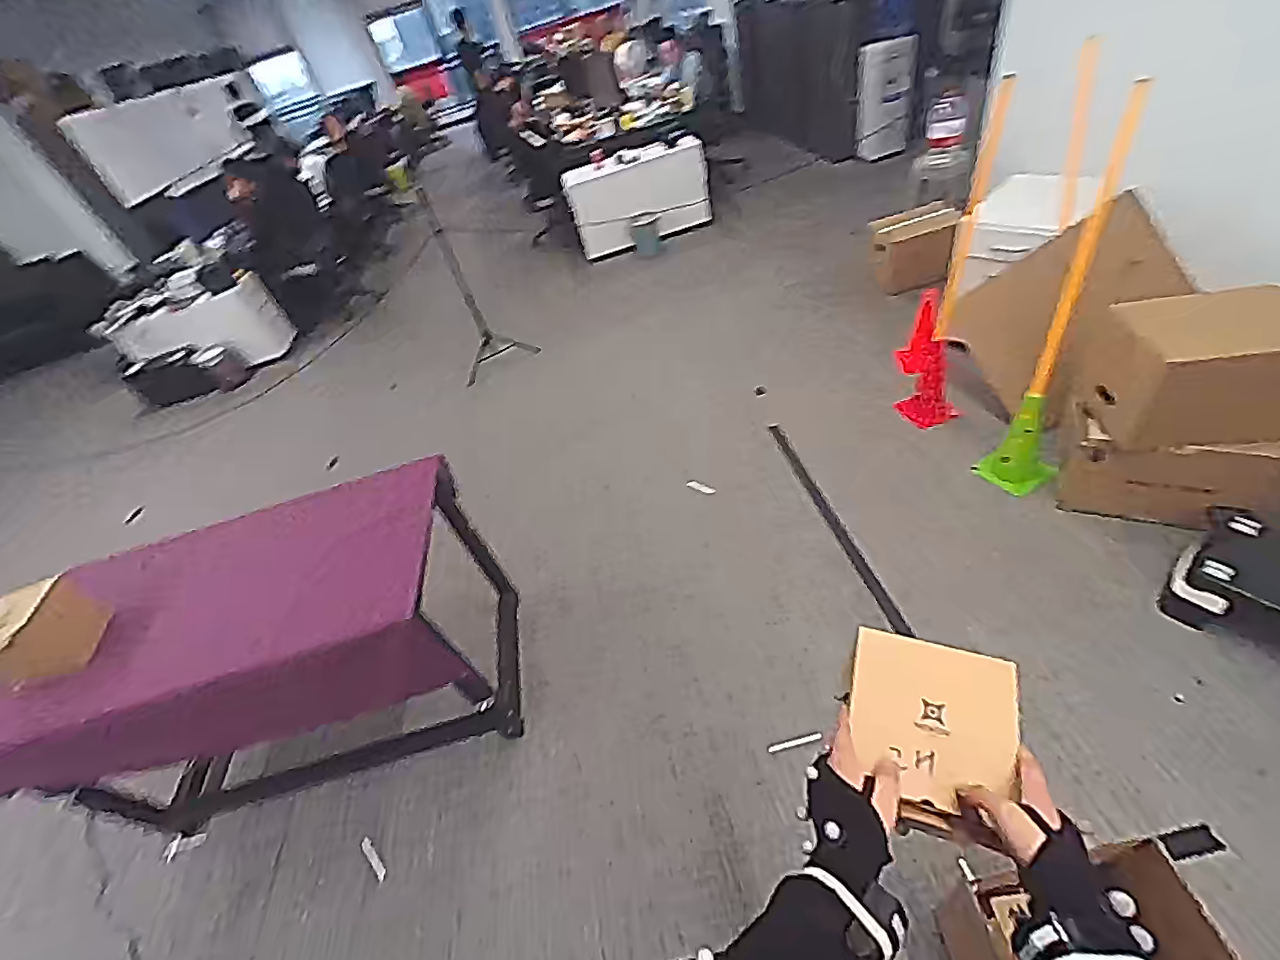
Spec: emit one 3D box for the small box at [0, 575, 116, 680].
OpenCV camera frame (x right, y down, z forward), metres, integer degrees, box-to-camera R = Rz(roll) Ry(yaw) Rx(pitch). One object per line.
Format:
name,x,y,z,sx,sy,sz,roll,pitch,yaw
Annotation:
small box,-1.500,0.381,1.368,0.168,0.176,0.179,-22,42,-5

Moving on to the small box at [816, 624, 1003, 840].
small box,0.310,0.303,0.648,0.168,0.176,0.179,9,56,19
